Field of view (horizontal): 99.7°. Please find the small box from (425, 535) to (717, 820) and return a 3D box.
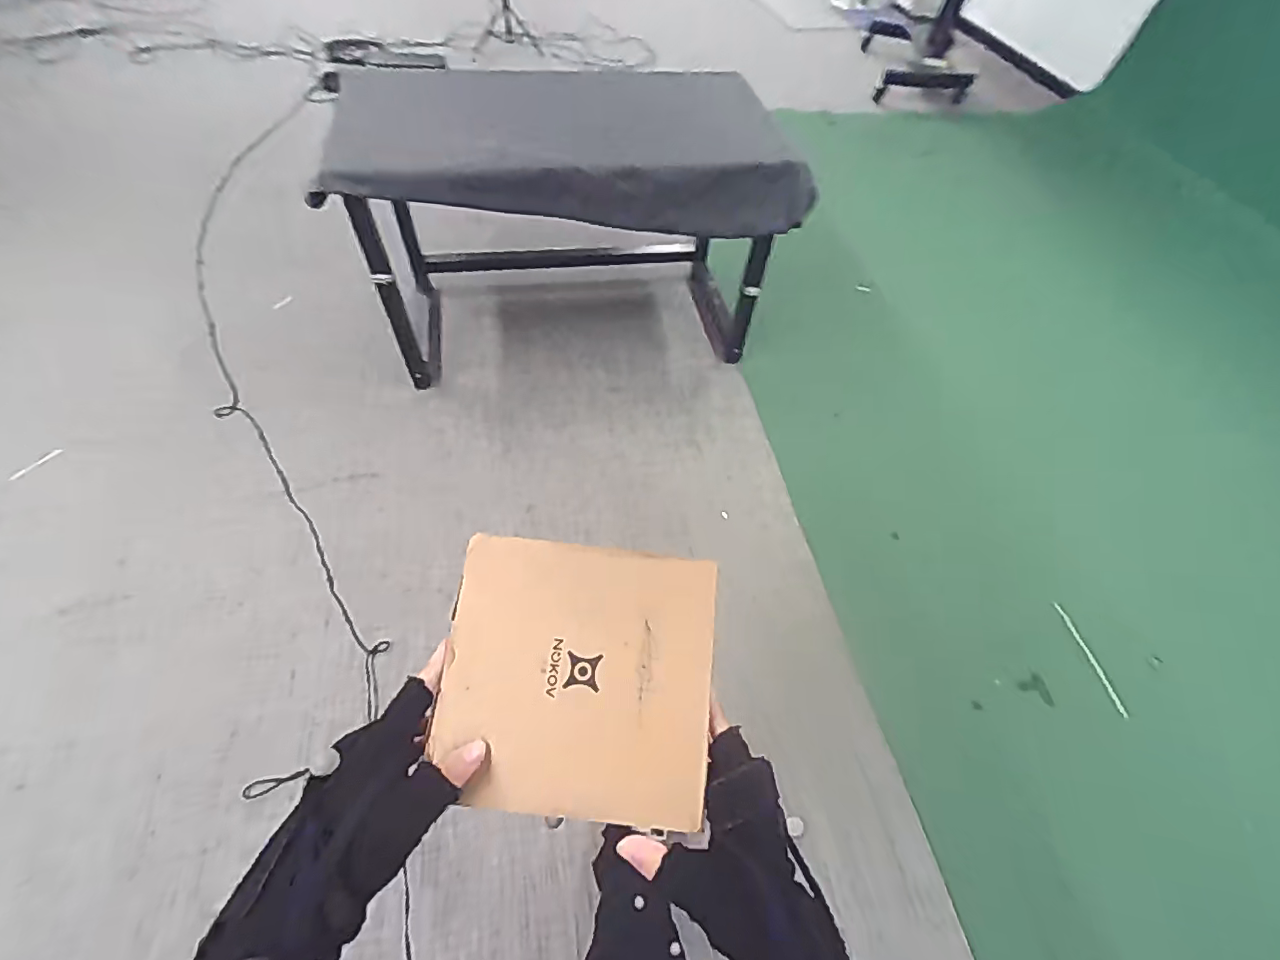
[{"bbox_3d":[-0.043,0.149,0.431,0.179,0.176,0.168,6,71,-2],"label":"small box"}]
